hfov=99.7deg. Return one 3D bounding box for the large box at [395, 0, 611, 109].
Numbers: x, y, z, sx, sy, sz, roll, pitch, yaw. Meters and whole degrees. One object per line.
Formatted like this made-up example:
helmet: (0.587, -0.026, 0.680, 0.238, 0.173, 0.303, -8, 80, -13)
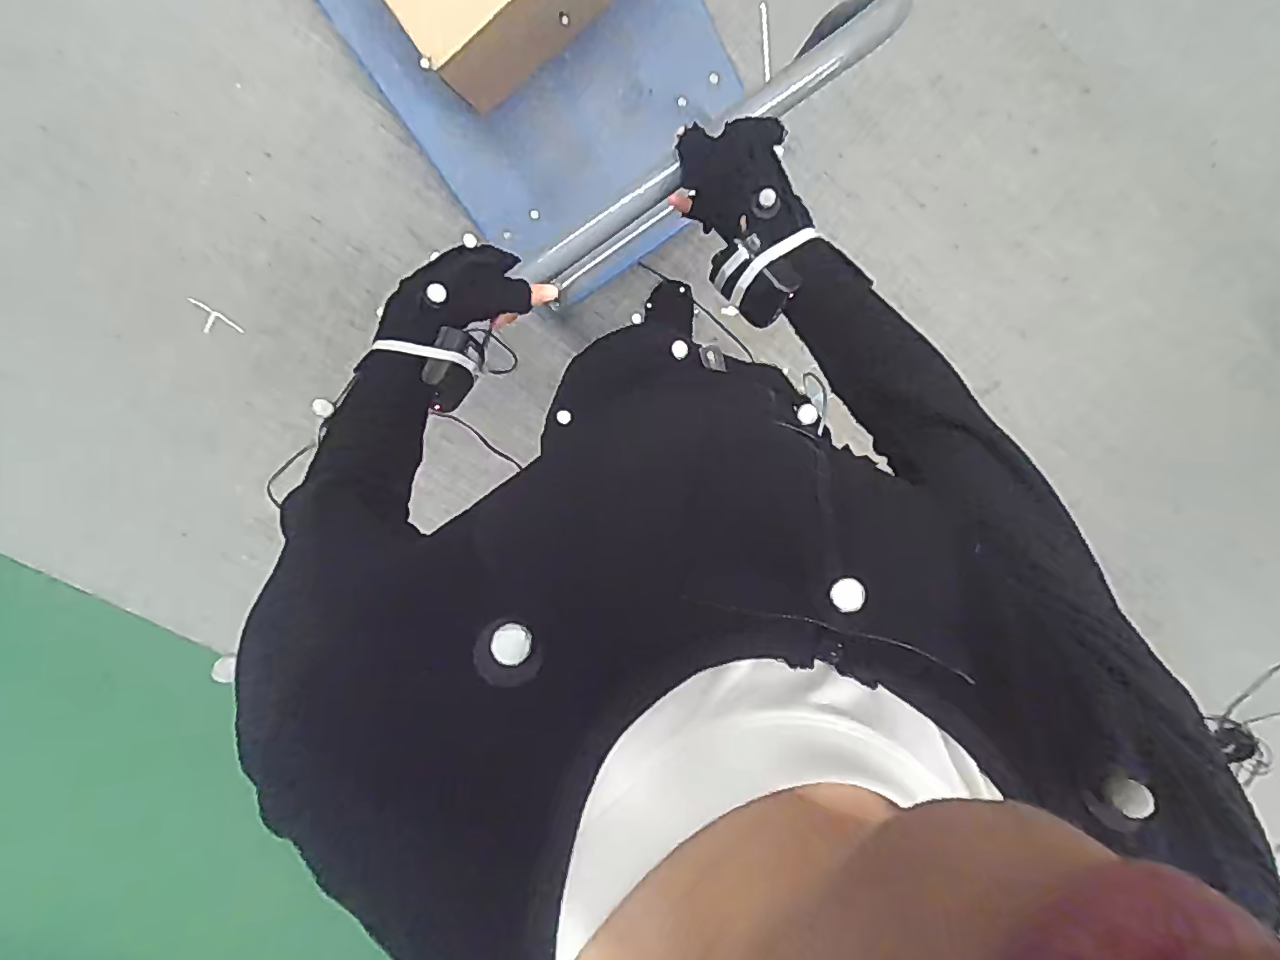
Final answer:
large box: (-0.207, -0.856, 0.798, 0.408, 0.320, 0.320, -34, 111, 12)
